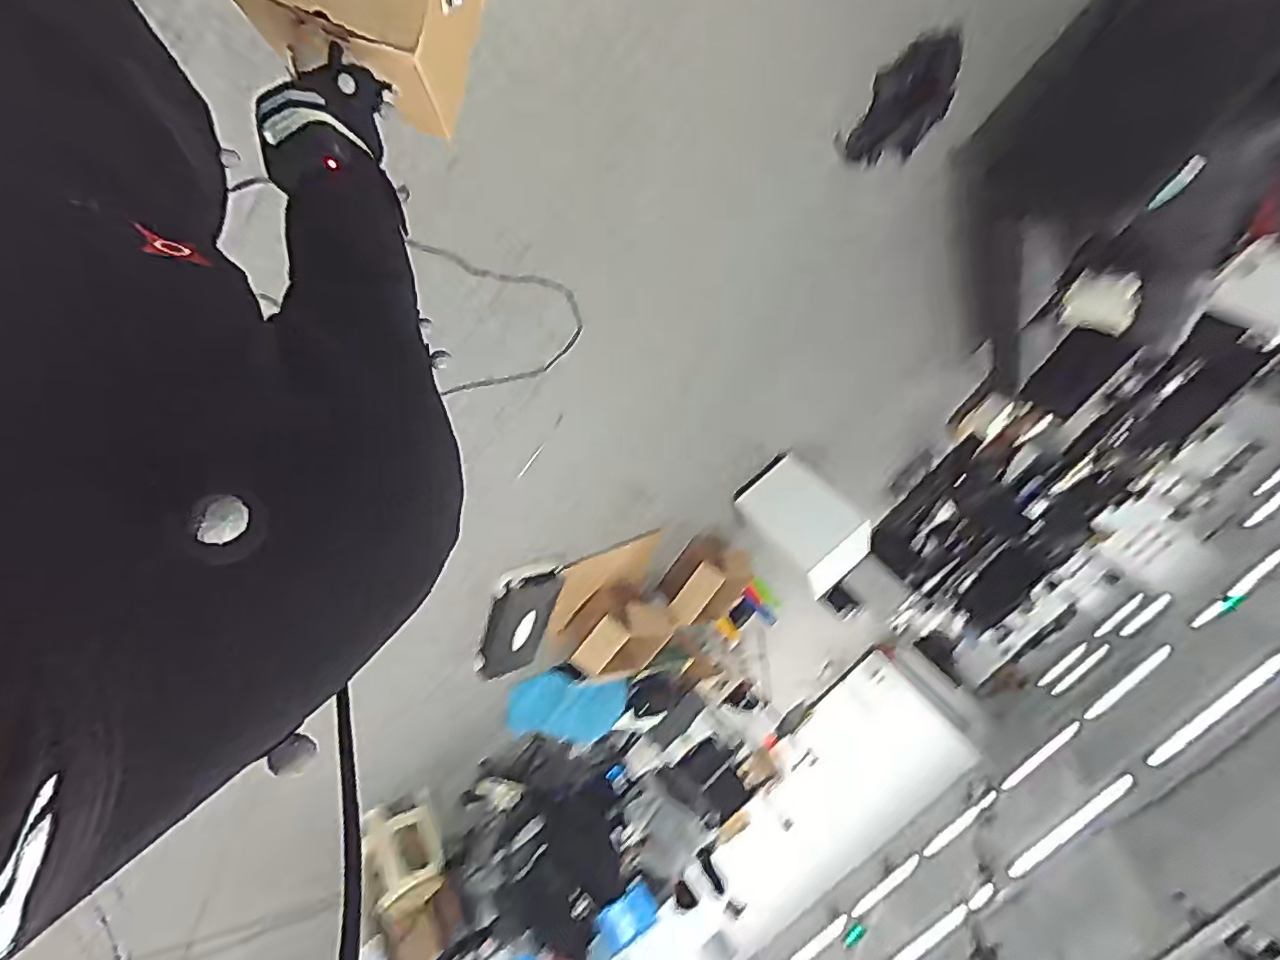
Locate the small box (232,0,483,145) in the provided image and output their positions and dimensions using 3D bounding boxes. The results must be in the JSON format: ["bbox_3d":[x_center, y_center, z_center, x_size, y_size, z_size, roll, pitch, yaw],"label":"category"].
[{"bbox_3d":[-0.262,-0.479,0.537,0.168,0.176,0.179,16,94,-13],"label":"small box"}]
